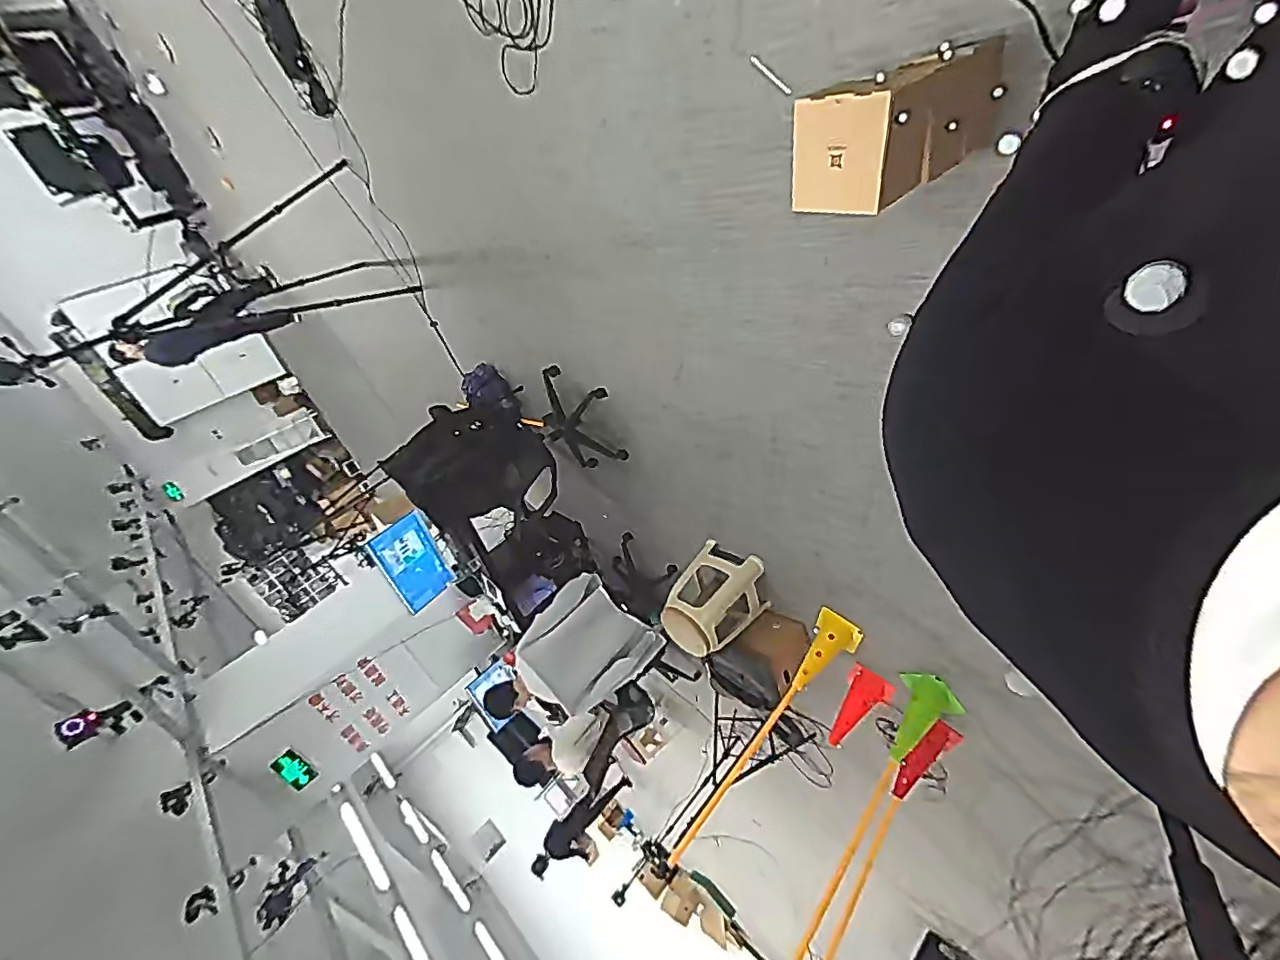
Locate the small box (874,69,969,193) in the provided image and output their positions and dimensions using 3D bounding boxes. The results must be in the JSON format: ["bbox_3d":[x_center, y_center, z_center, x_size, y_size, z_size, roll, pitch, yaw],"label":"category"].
[{"bbox_3d":[0.508,-0.664,1.038,0.168,0.176,0.179,21,139,41],"label":"small box"}]

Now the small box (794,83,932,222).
[{"bbox_3d":[0.393,-0.581,0.961,0.168,0.176,0.179,25,140,37],"label":"small box"}]

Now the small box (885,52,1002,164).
[{"bbox_3d":[0.623,-0.757,1.117,0.168,0.176,0.179,21,137,45],"label":"small box"}]
